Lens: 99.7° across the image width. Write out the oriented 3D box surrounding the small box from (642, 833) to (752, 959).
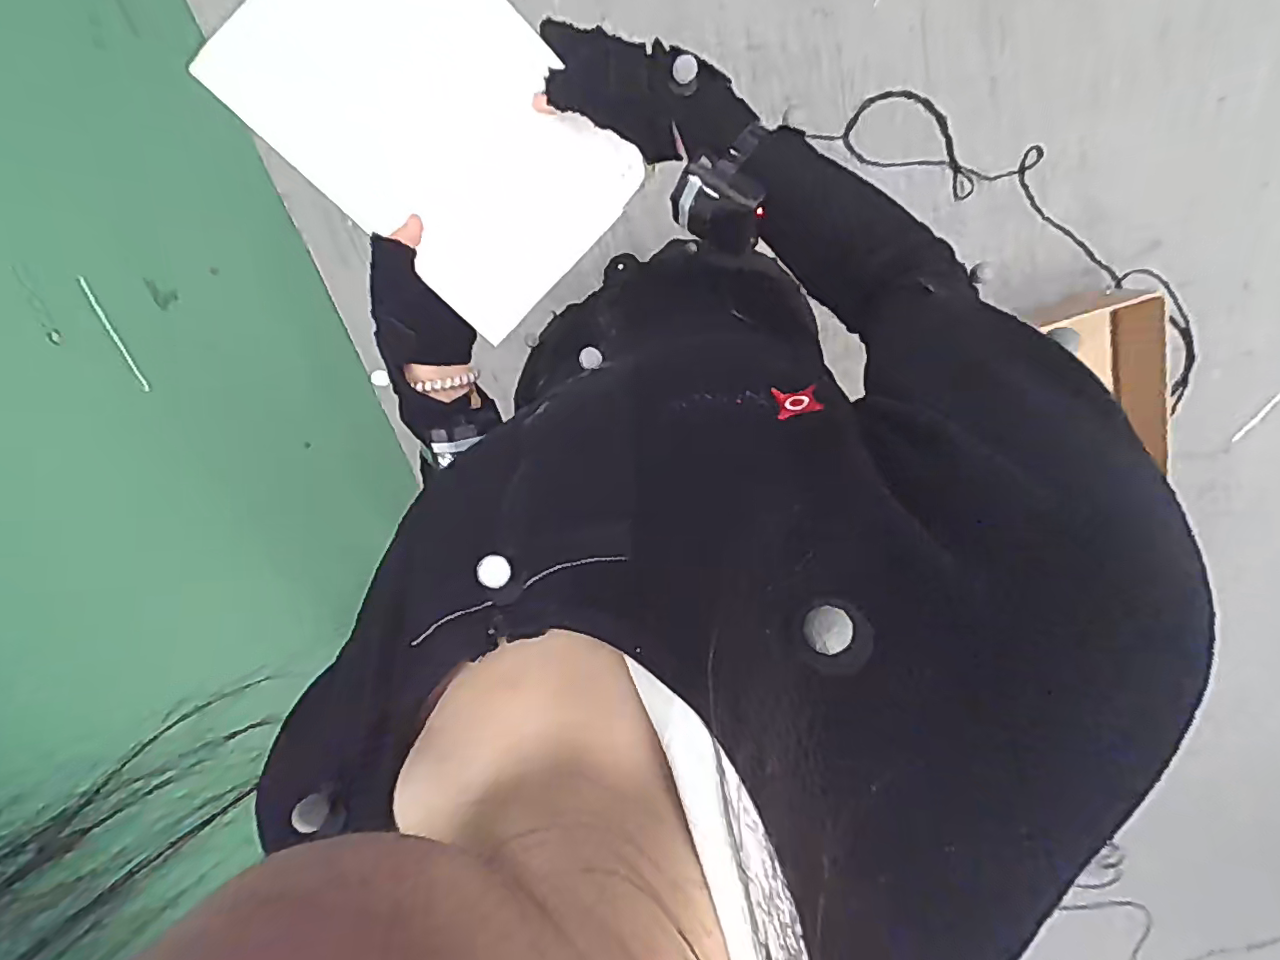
[{"bbox_3d":[0.103,0.771,0.979,0.168,0.176,0.179,-11,111,9],"label":"small box"}]
